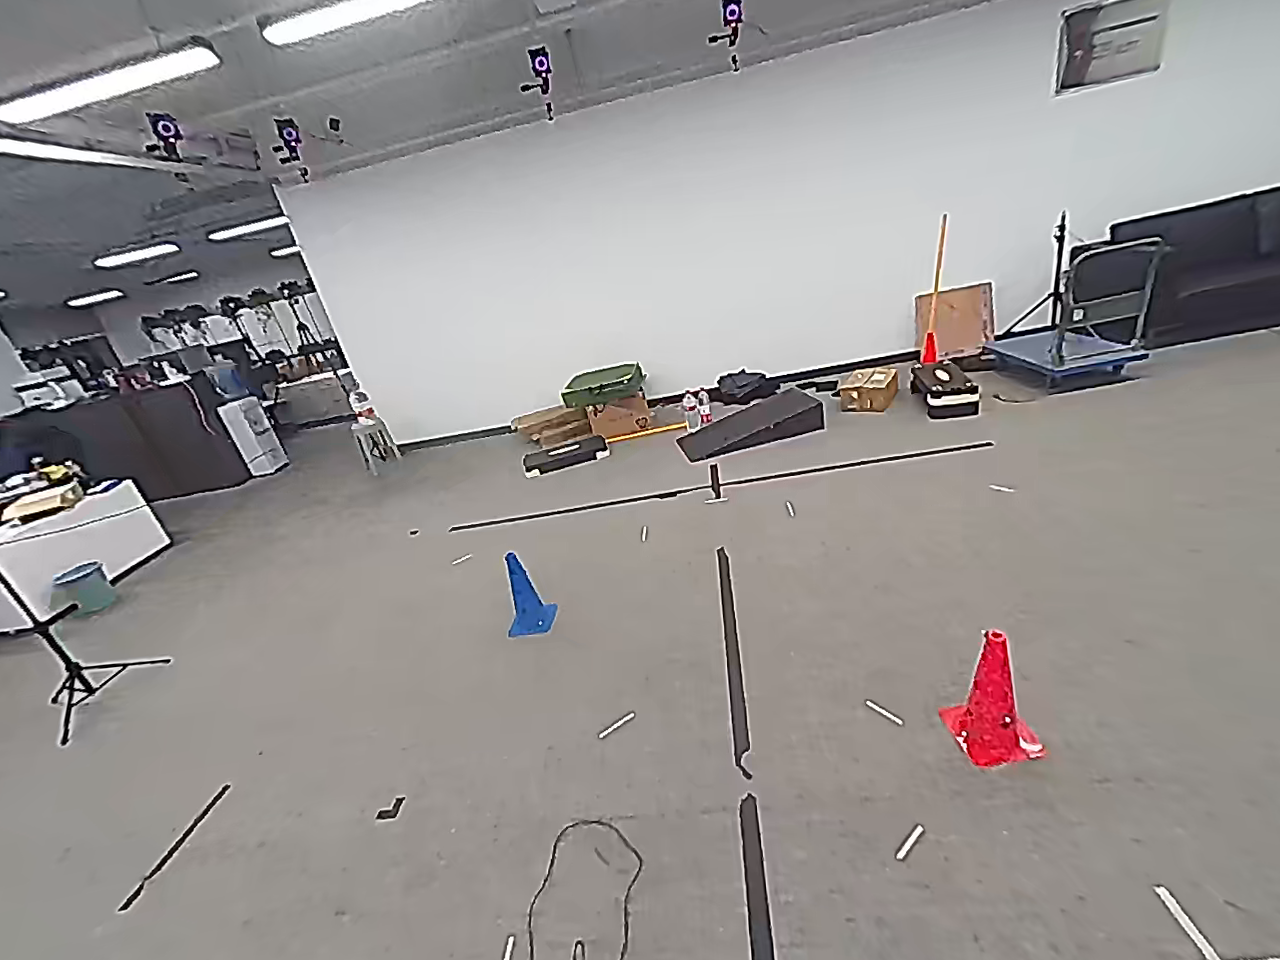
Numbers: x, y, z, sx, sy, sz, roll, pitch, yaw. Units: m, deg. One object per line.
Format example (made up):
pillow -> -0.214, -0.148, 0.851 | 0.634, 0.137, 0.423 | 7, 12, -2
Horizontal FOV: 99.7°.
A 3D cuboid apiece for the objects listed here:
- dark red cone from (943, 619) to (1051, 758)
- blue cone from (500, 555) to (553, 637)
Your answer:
dark red cone -> 0.956, 0.533, 1.448 | 0.201, 0.394, 0.202 | -13, 23, 2
blue cone -> -0.533, 0.491, 2.386 | 0.192, 0.380, 0.193 | -10, 24, 10
